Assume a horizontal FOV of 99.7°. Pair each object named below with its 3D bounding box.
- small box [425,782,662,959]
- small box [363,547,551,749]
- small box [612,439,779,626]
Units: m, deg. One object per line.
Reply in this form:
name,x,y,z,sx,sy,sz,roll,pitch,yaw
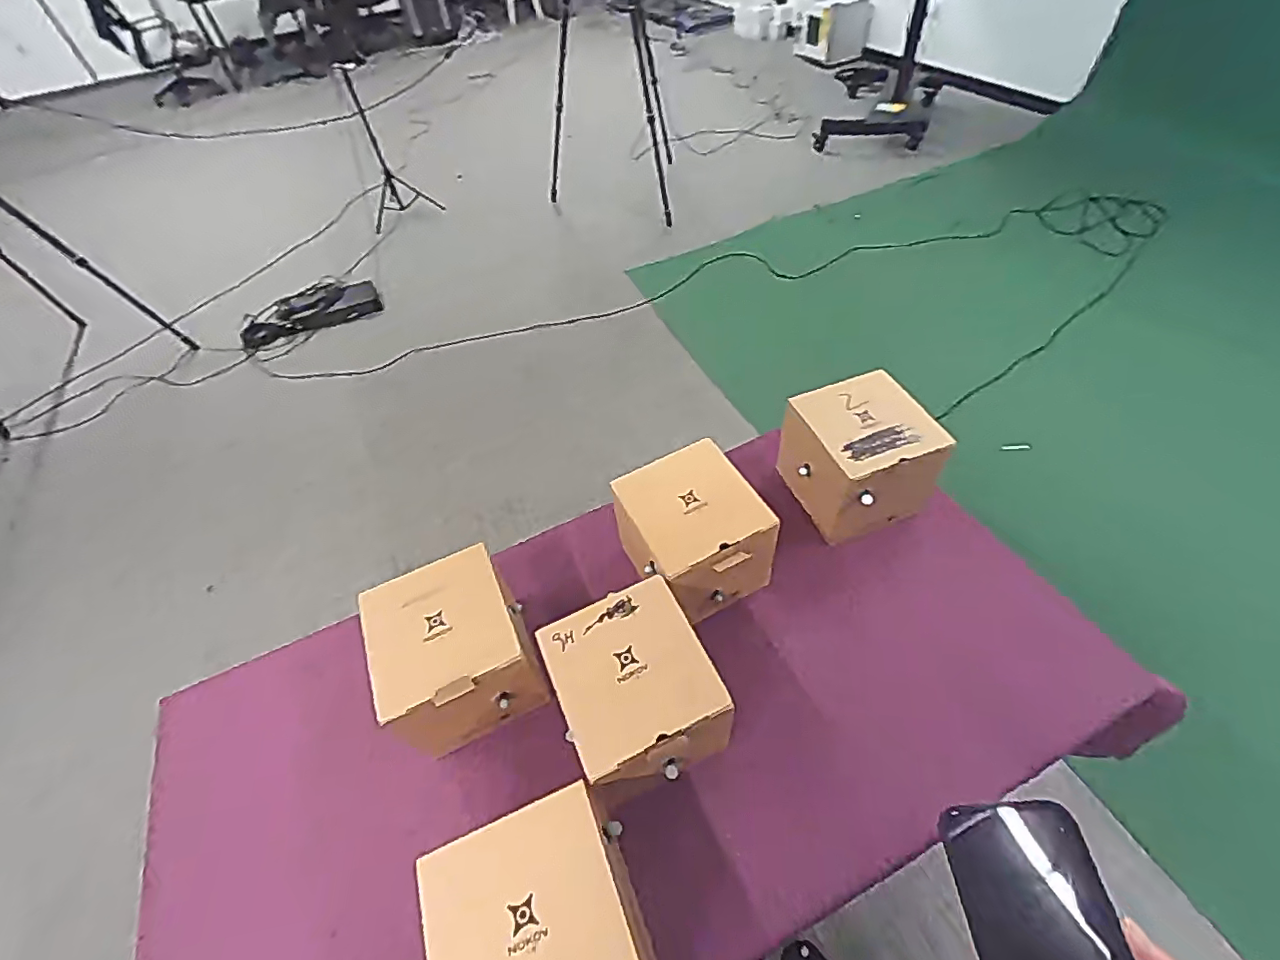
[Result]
small box,-0.084,0.431,0.521,0.168,0.176,0.179,-22,52,-10
small box,-0.231,0.226,0.707,0.168,0.176,0.179,-23,52,-12
small box,0.075,0.078,0.785,0.168,0.176,0.179,-26,54,-13
